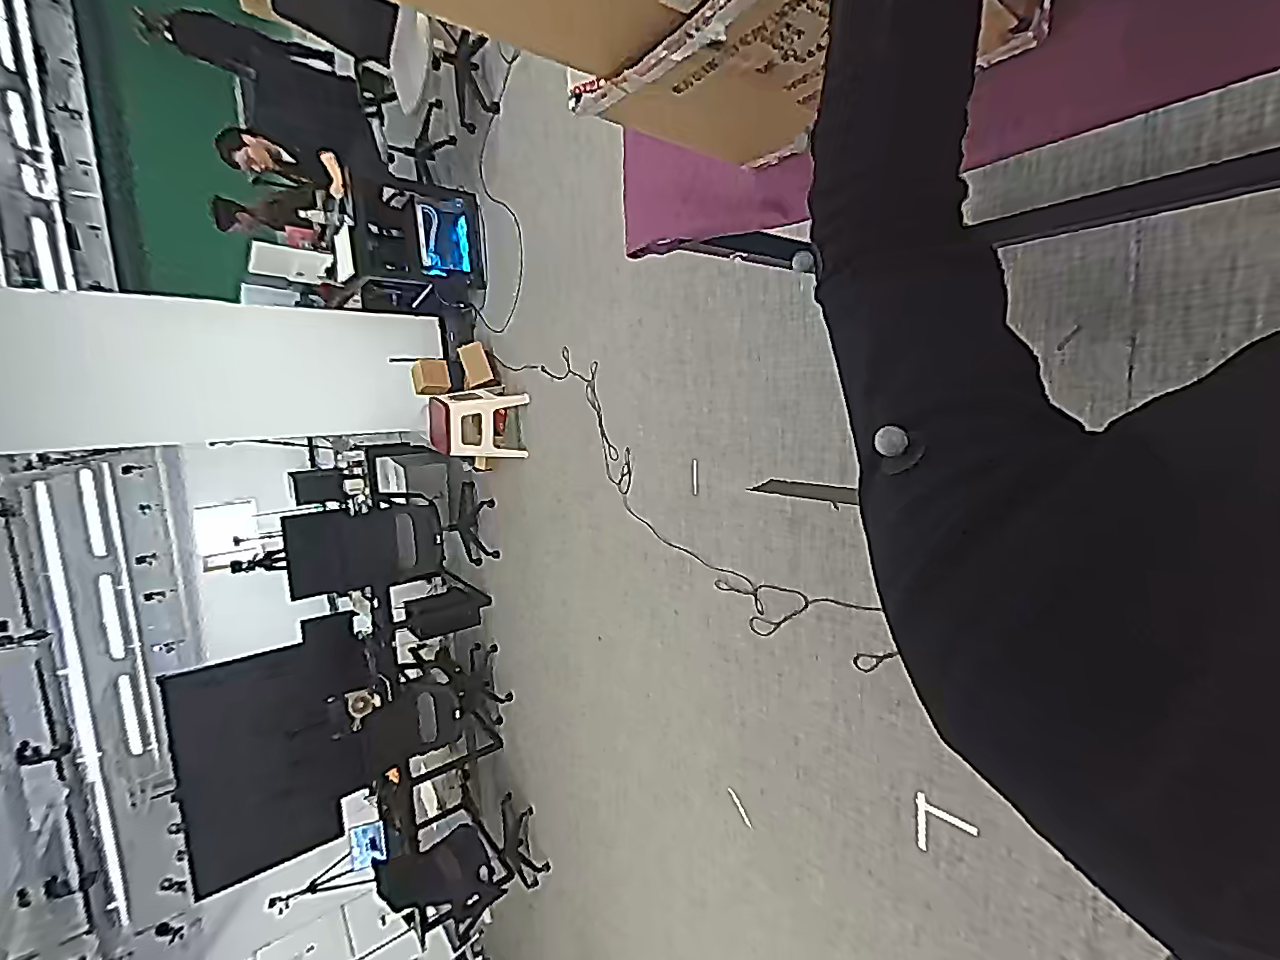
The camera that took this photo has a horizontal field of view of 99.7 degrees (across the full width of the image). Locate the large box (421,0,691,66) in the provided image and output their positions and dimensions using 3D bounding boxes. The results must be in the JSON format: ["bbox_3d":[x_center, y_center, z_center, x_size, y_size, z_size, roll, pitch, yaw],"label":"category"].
[{"bbox_3d":[-0.073,-0.628,0.383,0.320,0.320,0.408,13,107,56],"label":"large box"}]
